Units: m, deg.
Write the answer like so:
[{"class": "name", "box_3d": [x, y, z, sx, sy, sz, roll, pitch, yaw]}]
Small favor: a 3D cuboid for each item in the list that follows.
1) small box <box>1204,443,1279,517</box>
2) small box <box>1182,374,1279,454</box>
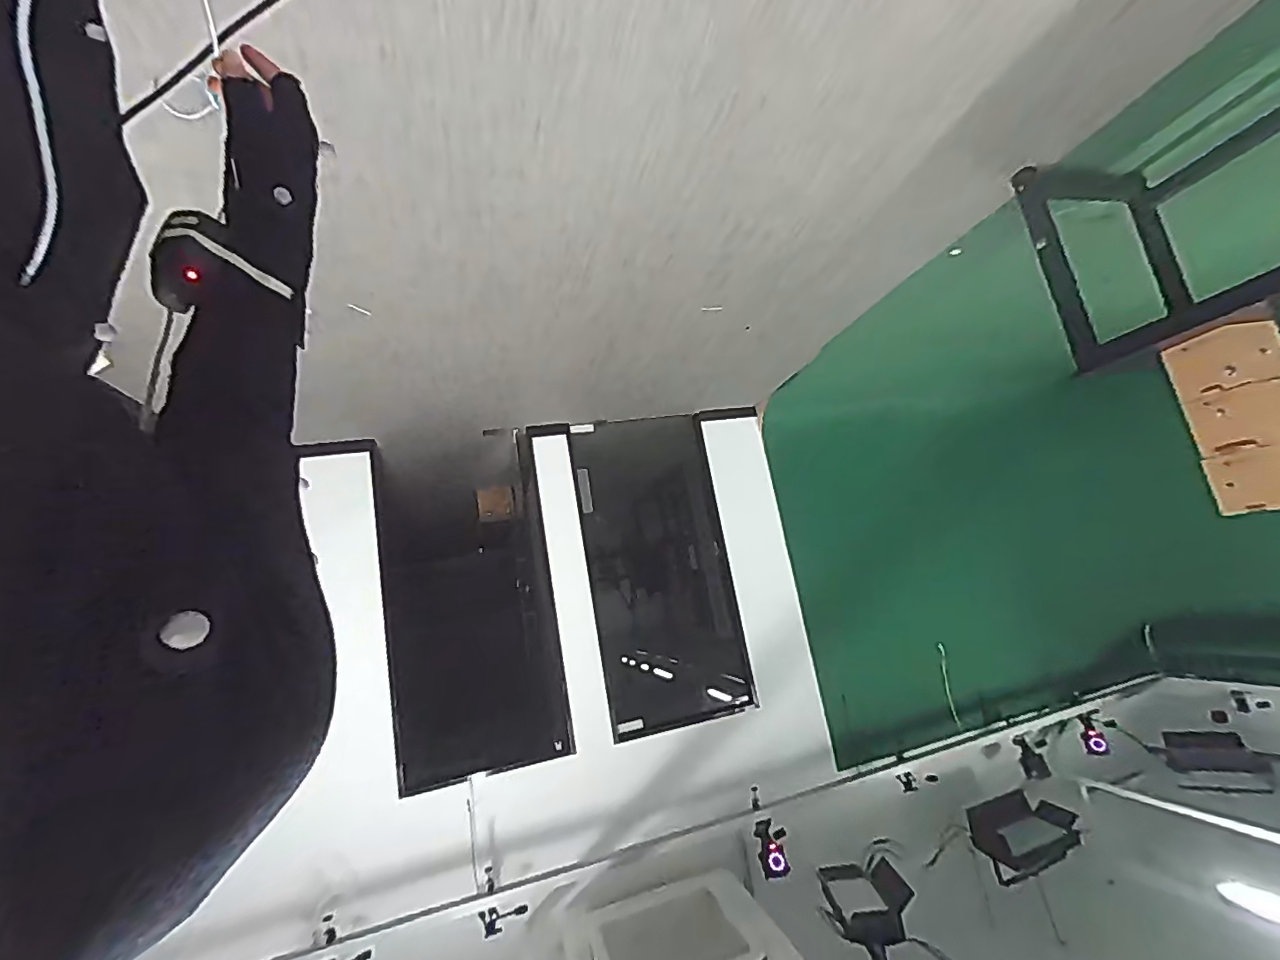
[{"class": "small box", "box_3d": [1.697, -0.007, 1.455, 0.179, 0.176, 0.168, -10, 170, -10]}, {"class": "small box", "box_3d": [1.665, -0.182, 1.480, 0.179, 0.176, 0.168, -9, 169, -9]}]
